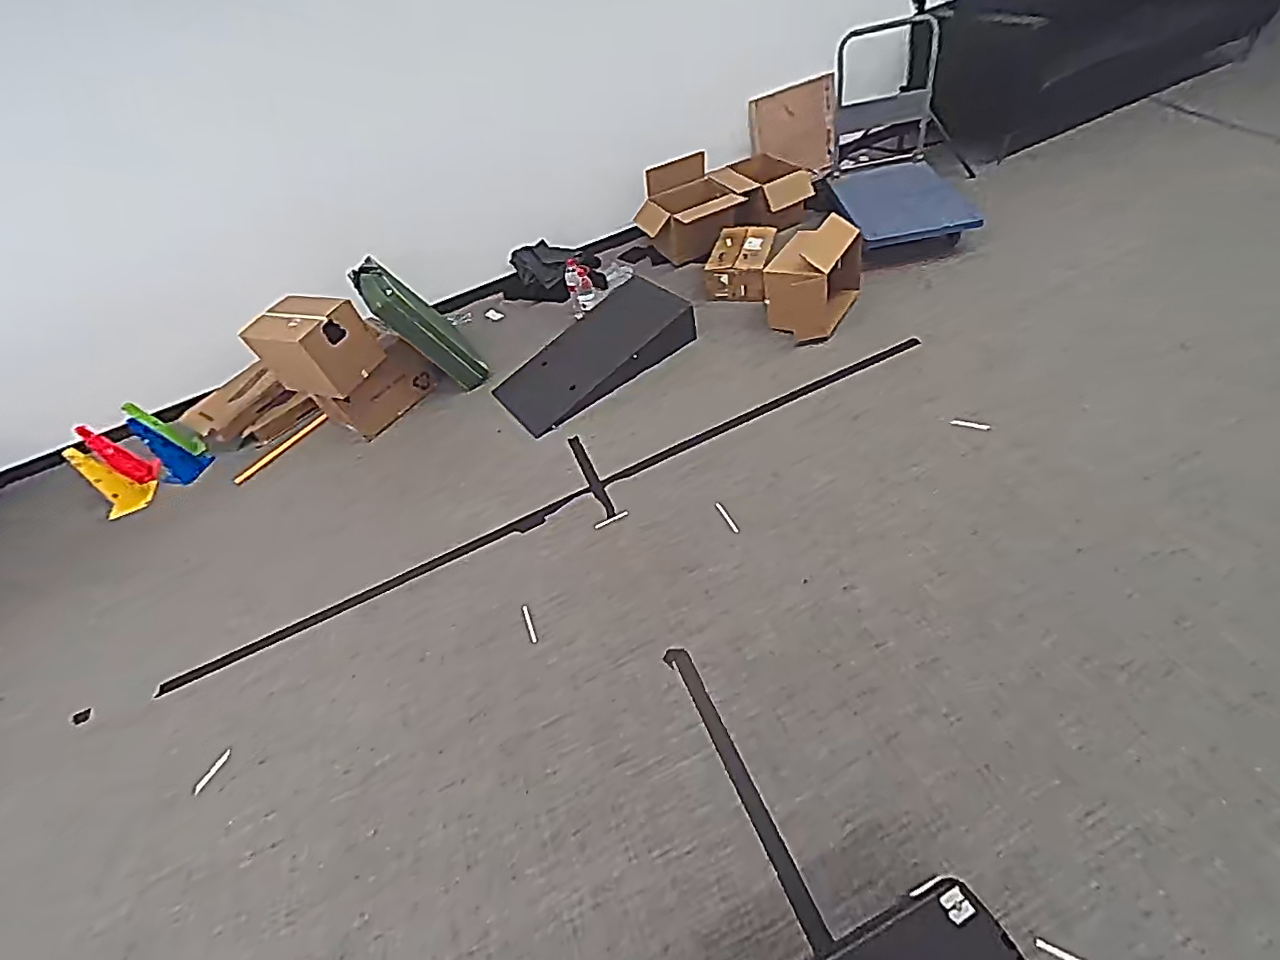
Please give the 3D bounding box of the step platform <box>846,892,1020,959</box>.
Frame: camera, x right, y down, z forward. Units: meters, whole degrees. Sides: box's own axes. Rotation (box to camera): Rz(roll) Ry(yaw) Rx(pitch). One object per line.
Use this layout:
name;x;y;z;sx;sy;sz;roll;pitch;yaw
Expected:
step platform;0.434;1.097;1.014;0.684;0.204;0.286;-25;49;-9
